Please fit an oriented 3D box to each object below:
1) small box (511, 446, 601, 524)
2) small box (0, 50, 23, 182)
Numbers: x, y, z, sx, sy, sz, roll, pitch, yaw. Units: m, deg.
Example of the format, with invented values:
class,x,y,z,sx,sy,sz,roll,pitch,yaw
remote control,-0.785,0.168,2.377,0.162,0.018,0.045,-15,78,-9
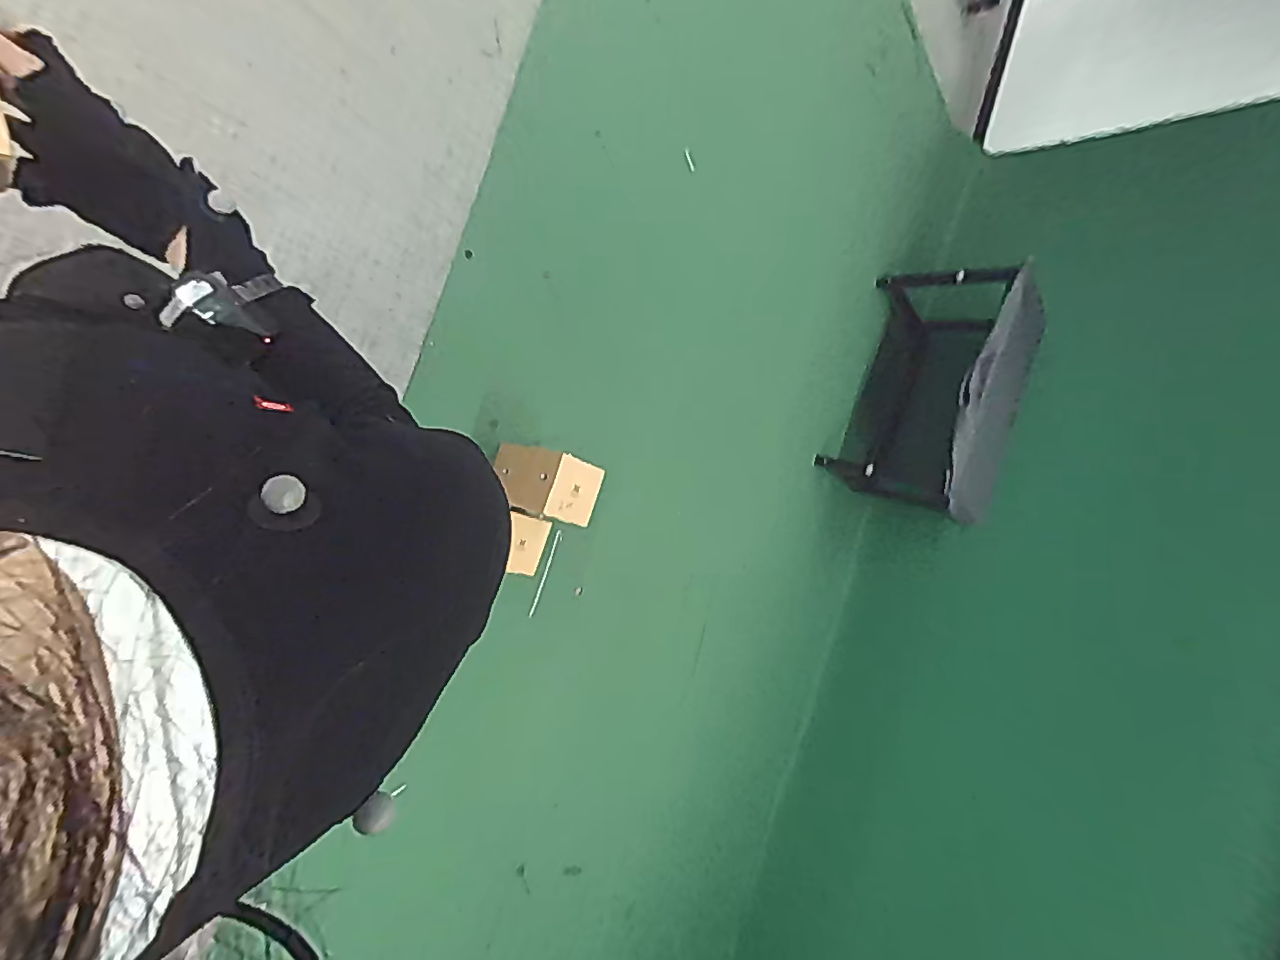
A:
class,x,y,z,sx,sy,sz,roll,pitch,yaw
small box,-0.247,0.011,1.570,0.168,0.176,0.179,24,83,-45
small box,-0.425,-0.249,0.245,0.168,0.176,0.179,-17,116,-48
